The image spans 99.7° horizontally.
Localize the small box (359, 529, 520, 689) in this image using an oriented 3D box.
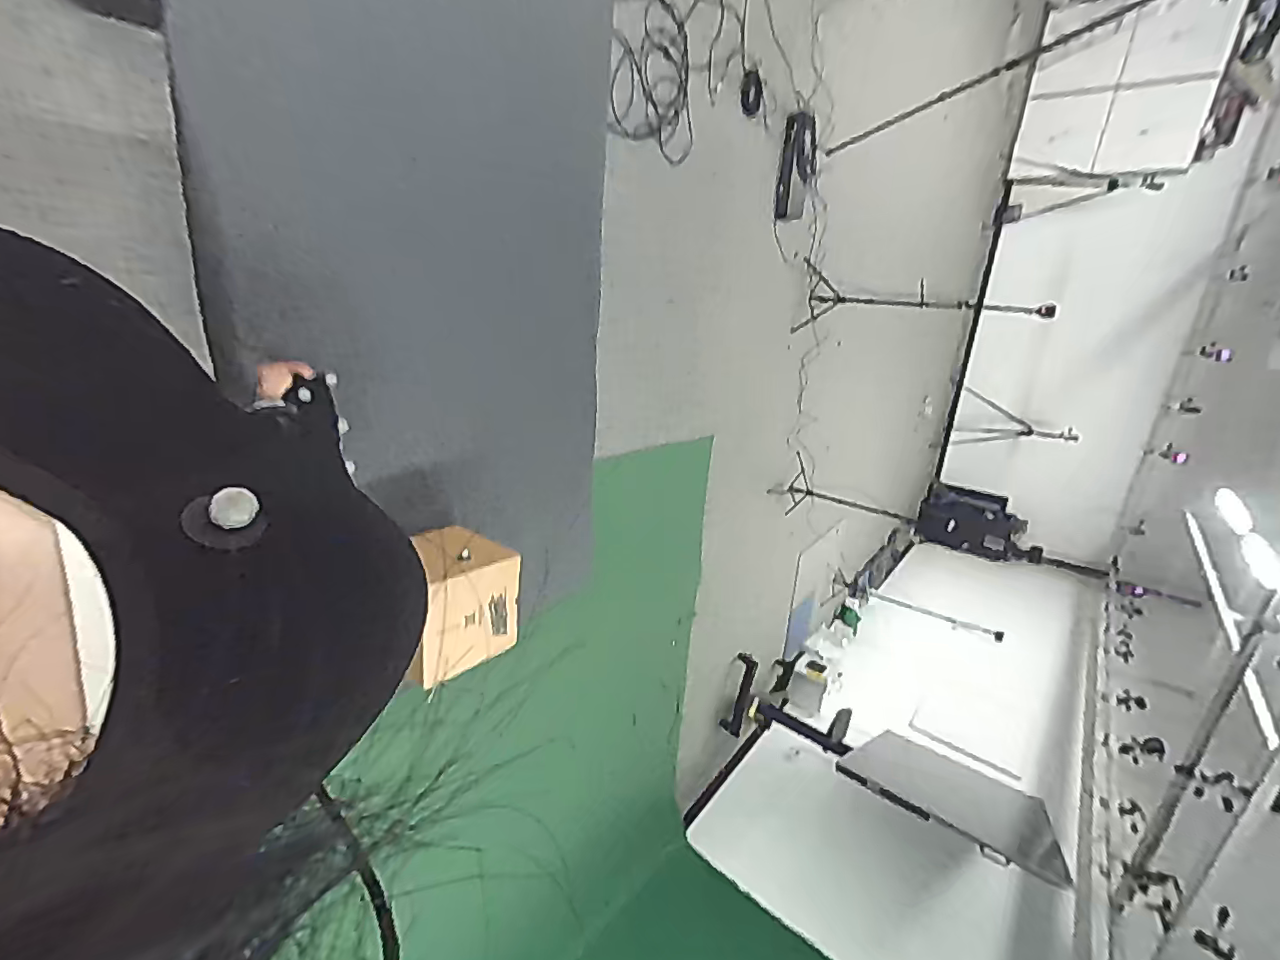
[{"bbox_3d":[-0.315,0.188,0.855,0.179,0.176,0.168,-14,114,-52],"label":"small box"}]
